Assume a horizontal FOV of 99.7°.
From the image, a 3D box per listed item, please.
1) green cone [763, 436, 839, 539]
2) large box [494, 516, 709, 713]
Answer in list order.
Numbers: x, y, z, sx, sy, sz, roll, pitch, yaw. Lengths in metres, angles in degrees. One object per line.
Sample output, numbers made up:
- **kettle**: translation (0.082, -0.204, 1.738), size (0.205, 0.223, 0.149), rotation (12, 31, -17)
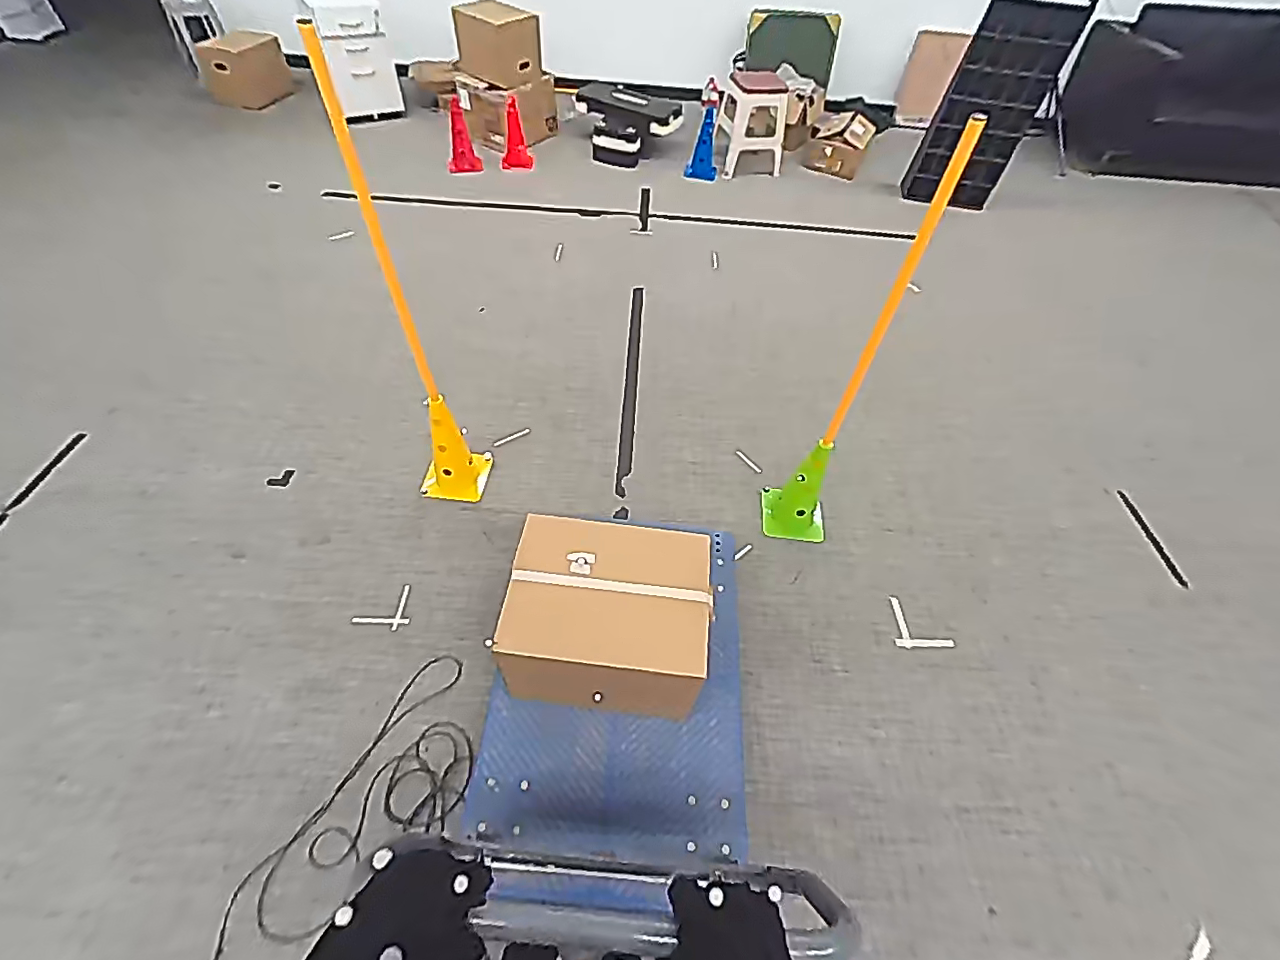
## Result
- **green cone**: translation (0.531, 0.001, 1.689), size (0.202, 0.368, 0.200), rotation (8, 52, 0)
- **large box**: translation (-0.067, 0.308, 1.213), size (0.408, 0.320, 0.320), rotation (7, 52, 2)
